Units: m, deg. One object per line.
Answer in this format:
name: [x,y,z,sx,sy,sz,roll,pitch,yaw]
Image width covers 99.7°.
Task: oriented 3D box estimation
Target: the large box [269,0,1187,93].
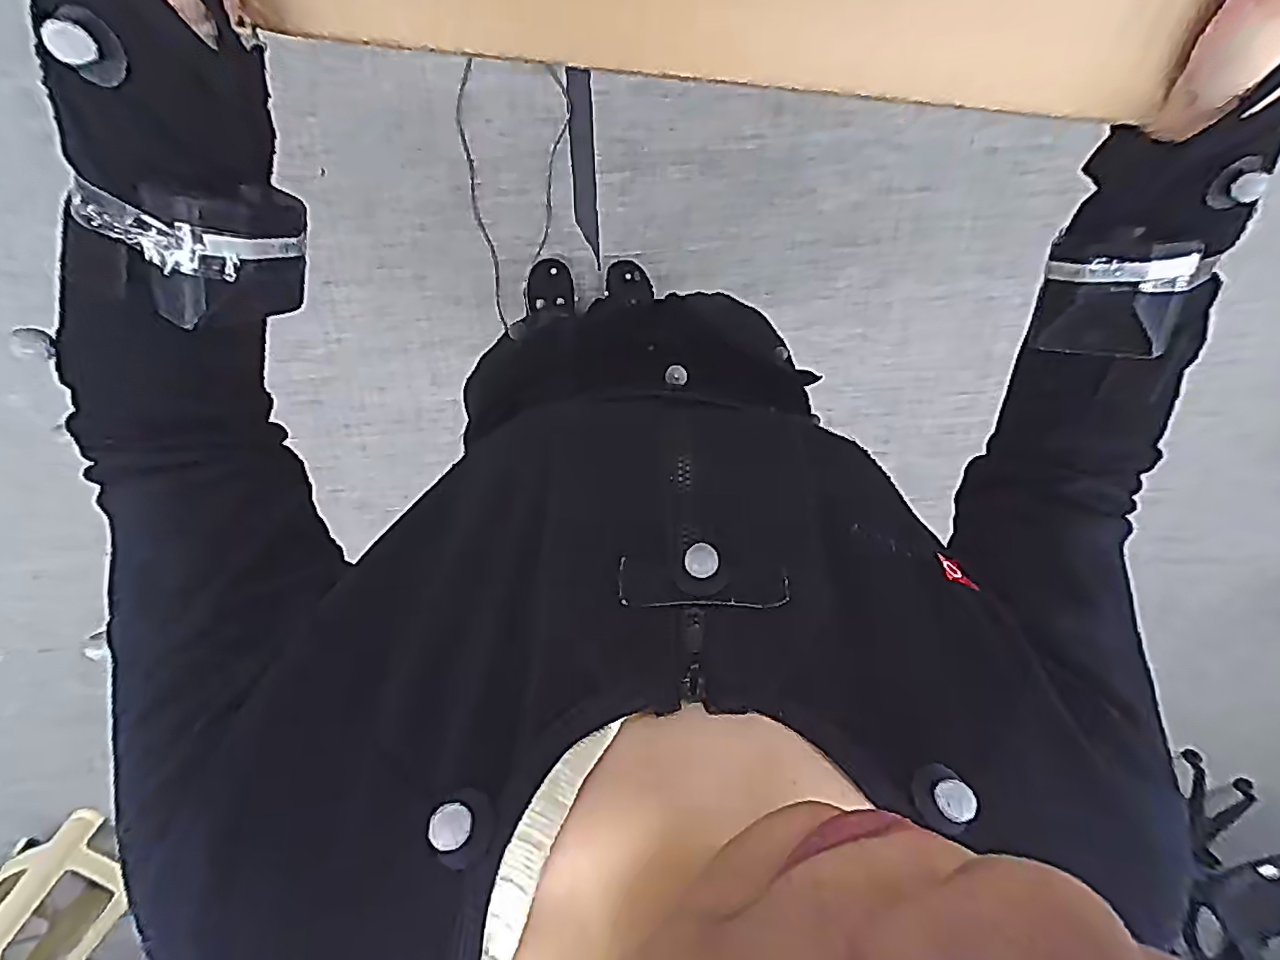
large box: [0.044,-0.402,0.250,0.408,0.320,0.320,1,133,-6]
